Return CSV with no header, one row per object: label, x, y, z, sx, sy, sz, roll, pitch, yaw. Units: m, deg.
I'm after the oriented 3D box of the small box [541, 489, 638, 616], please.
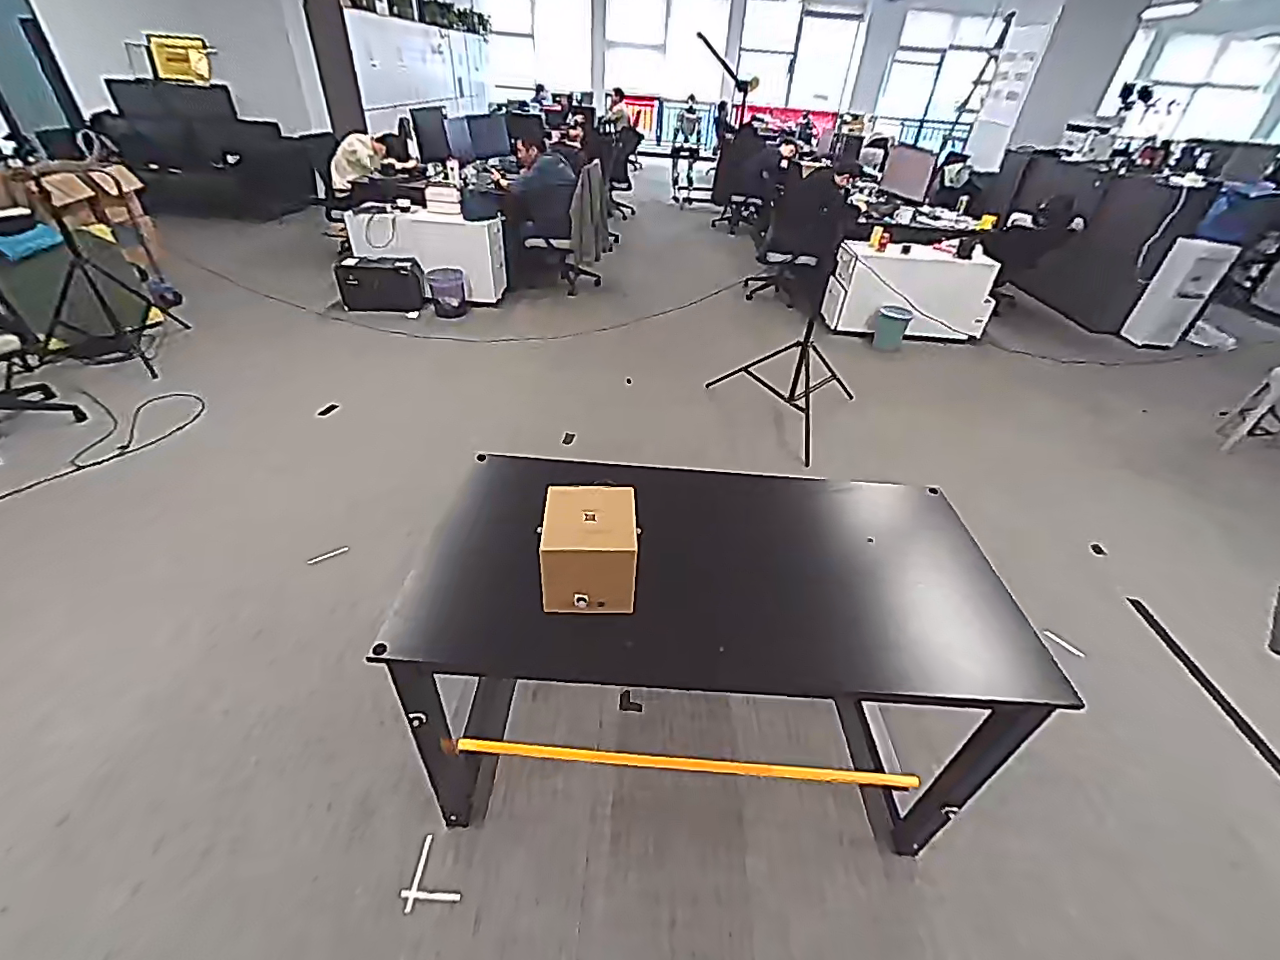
small box,-0.093,0.135,1.019,0.168,0.176,0.179,0,38,-4
